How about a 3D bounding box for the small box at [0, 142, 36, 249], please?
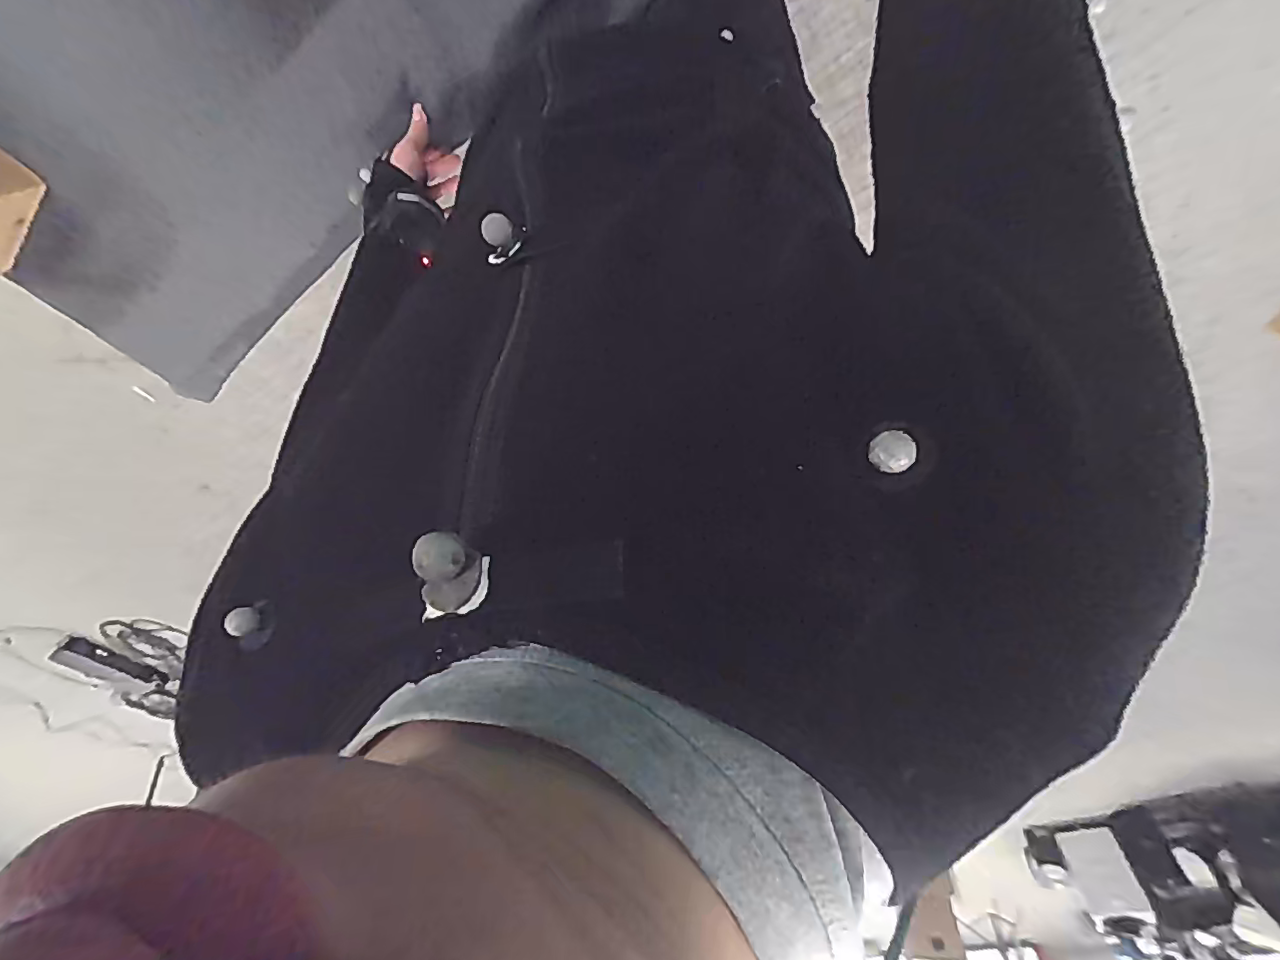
[{"bbox_3d":[-0.815,-0.319,0.566,0.168,0.176,0.179,-31,126,26],"label":"small box"}]
